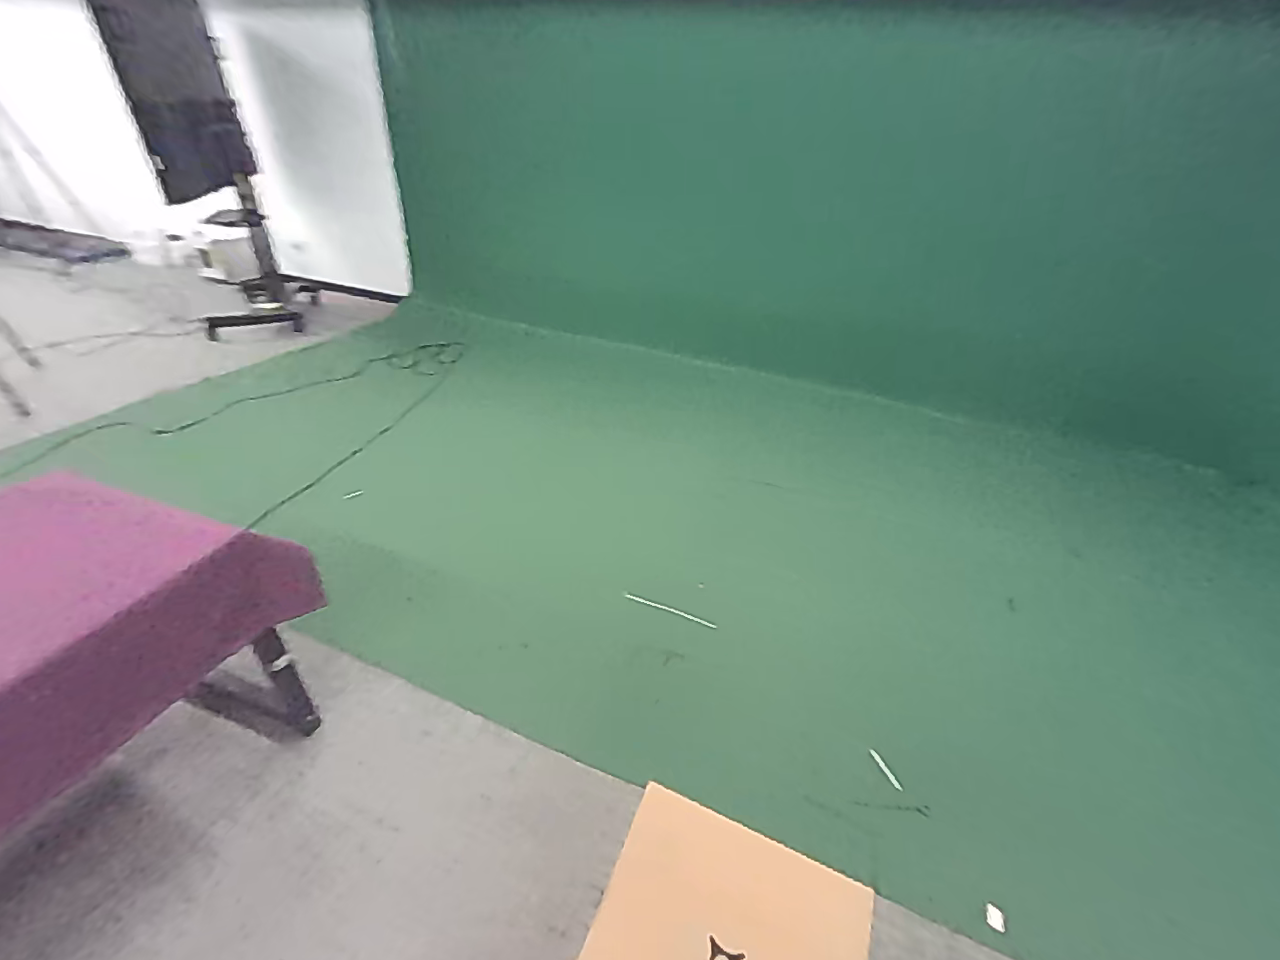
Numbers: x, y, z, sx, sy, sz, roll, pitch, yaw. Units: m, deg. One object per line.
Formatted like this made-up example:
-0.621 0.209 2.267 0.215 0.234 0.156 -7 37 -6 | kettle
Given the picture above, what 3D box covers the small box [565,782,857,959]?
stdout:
0.038 0.362 0.387 0.168 0.176 0.179 17 48 18 | small box
